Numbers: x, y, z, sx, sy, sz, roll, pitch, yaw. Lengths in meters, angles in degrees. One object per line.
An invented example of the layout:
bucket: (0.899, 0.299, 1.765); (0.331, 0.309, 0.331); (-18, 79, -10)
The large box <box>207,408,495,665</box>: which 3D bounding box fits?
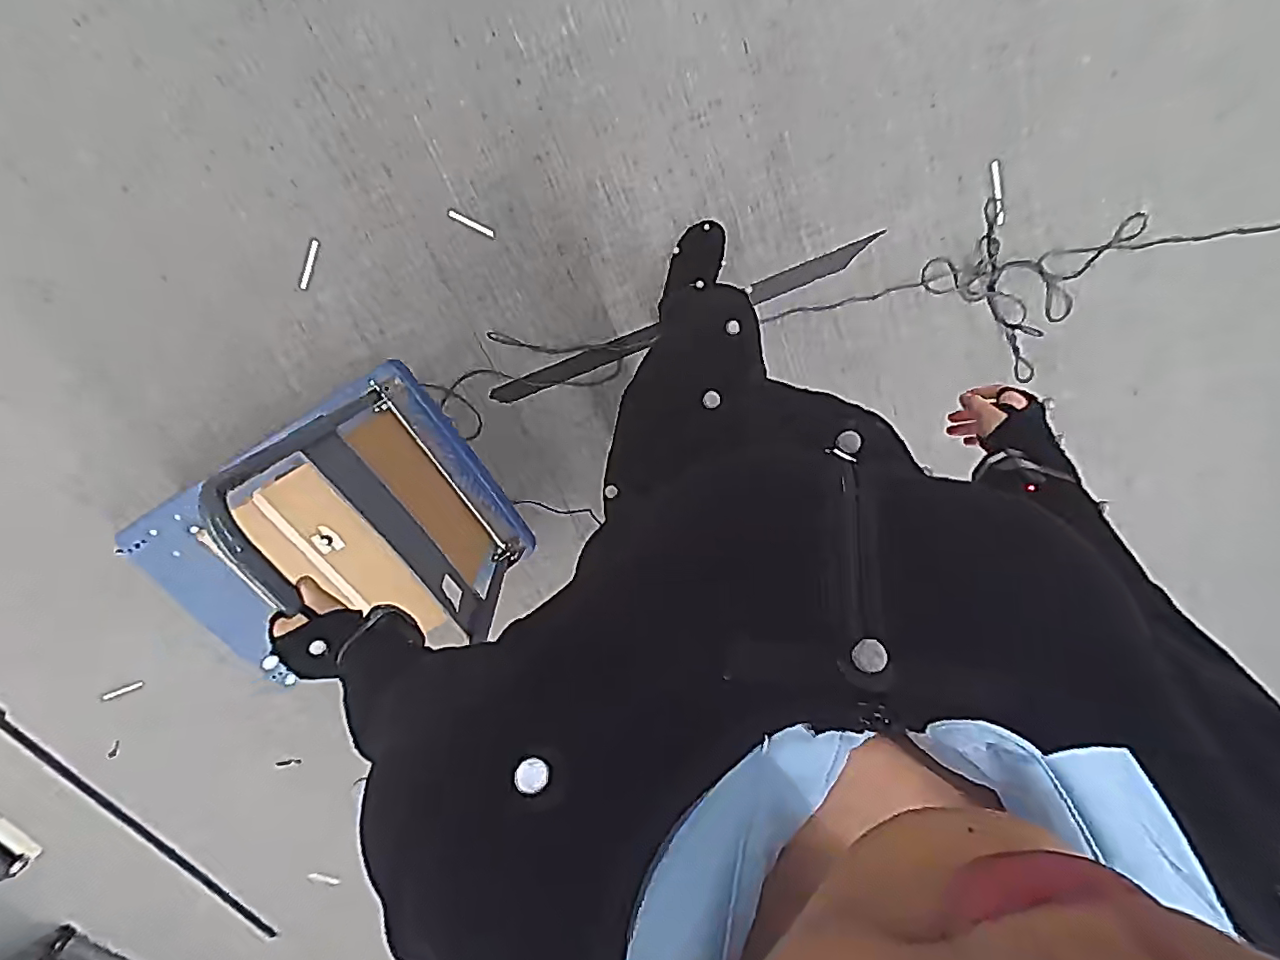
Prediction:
large box: (-0.589, 0.115, 1.193); (0.320, 0.320, 0.408); (-29, 110, 9)
